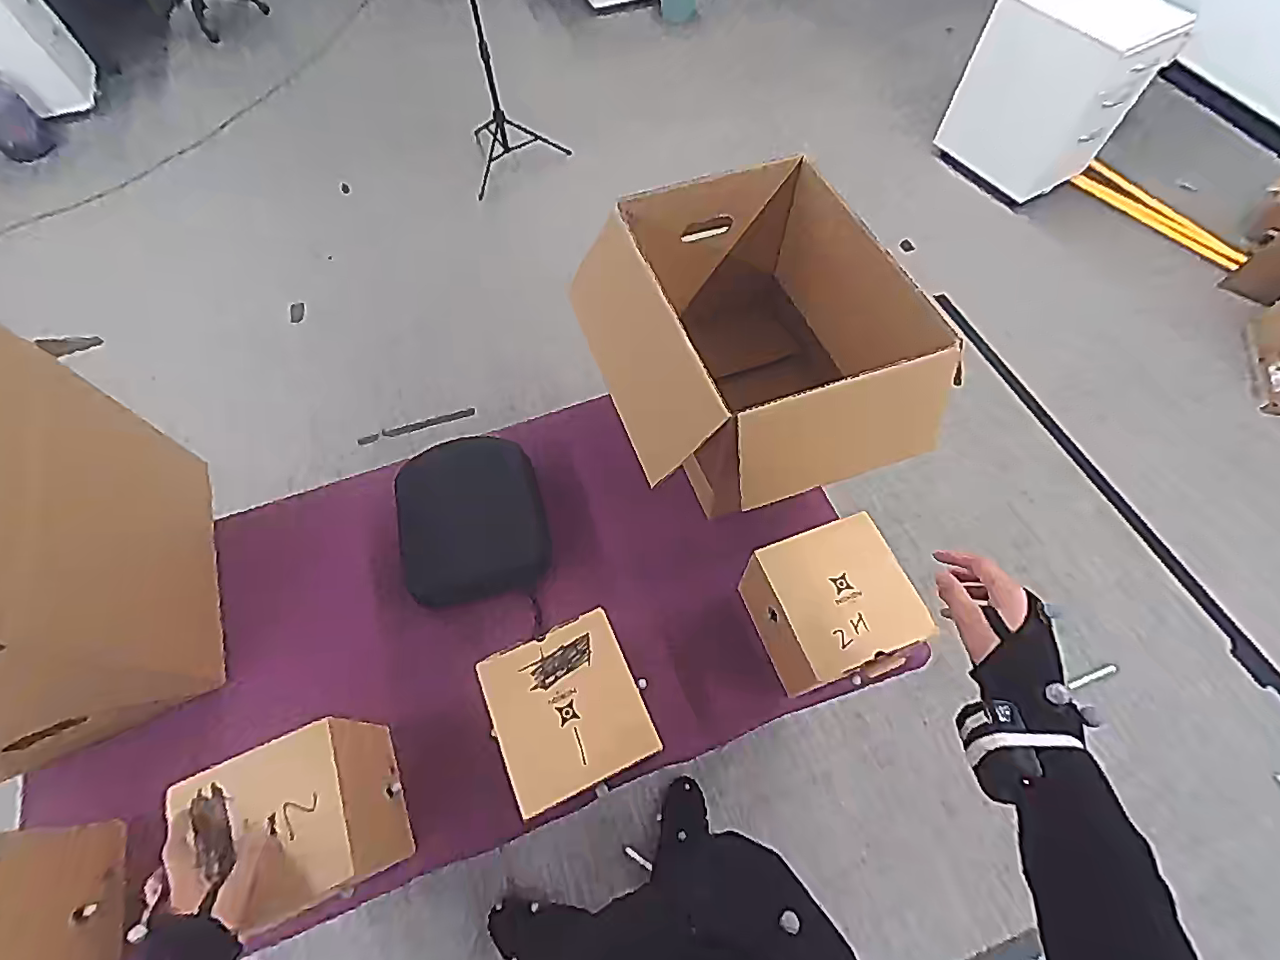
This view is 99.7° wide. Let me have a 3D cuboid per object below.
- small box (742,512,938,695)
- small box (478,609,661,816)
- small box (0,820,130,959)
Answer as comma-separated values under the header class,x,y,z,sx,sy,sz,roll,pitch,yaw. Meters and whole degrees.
class,x,y,z,sx,sy,sz,roll,pitch,yaw
small box,0.253,0.174,0.739,0.168,0.176,0.179,-19,63,-7
small box,-0.084,0.293,0.688,0.168,0.176,0.179,-23,65,-10
small box,-0.729,0.501,0.594,0.179,0.176,0.168,-19,64,-10
